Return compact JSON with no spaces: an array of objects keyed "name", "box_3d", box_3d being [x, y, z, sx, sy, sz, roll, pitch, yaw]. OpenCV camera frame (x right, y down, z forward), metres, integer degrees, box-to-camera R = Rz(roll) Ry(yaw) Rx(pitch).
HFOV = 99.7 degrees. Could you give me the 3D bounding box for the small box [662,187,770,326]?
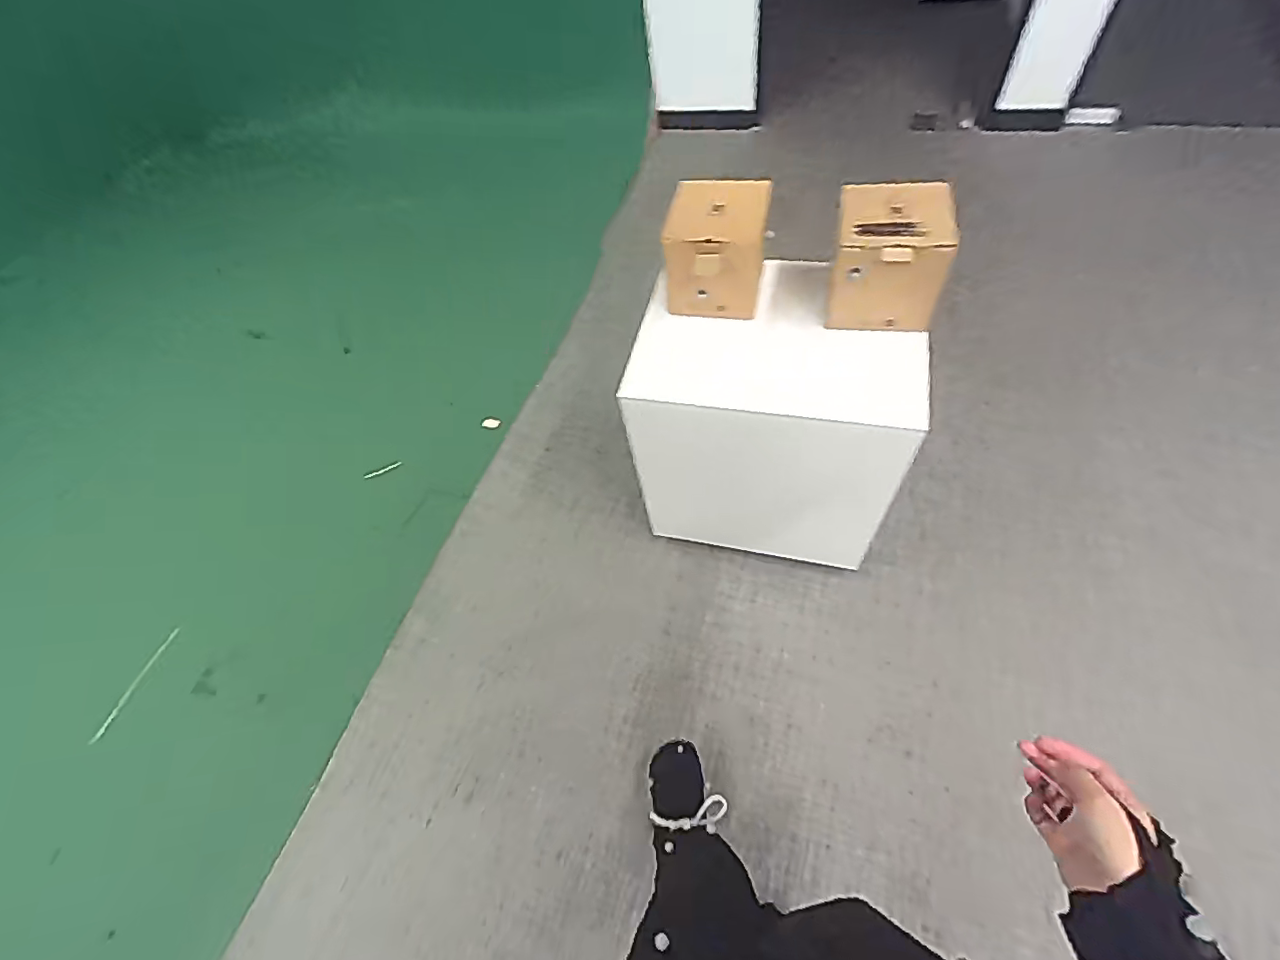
[{"name":"small box","box_3d":[0.144,-0.417,1.010,0.168,0.176,0.179,8,61,13]}]
